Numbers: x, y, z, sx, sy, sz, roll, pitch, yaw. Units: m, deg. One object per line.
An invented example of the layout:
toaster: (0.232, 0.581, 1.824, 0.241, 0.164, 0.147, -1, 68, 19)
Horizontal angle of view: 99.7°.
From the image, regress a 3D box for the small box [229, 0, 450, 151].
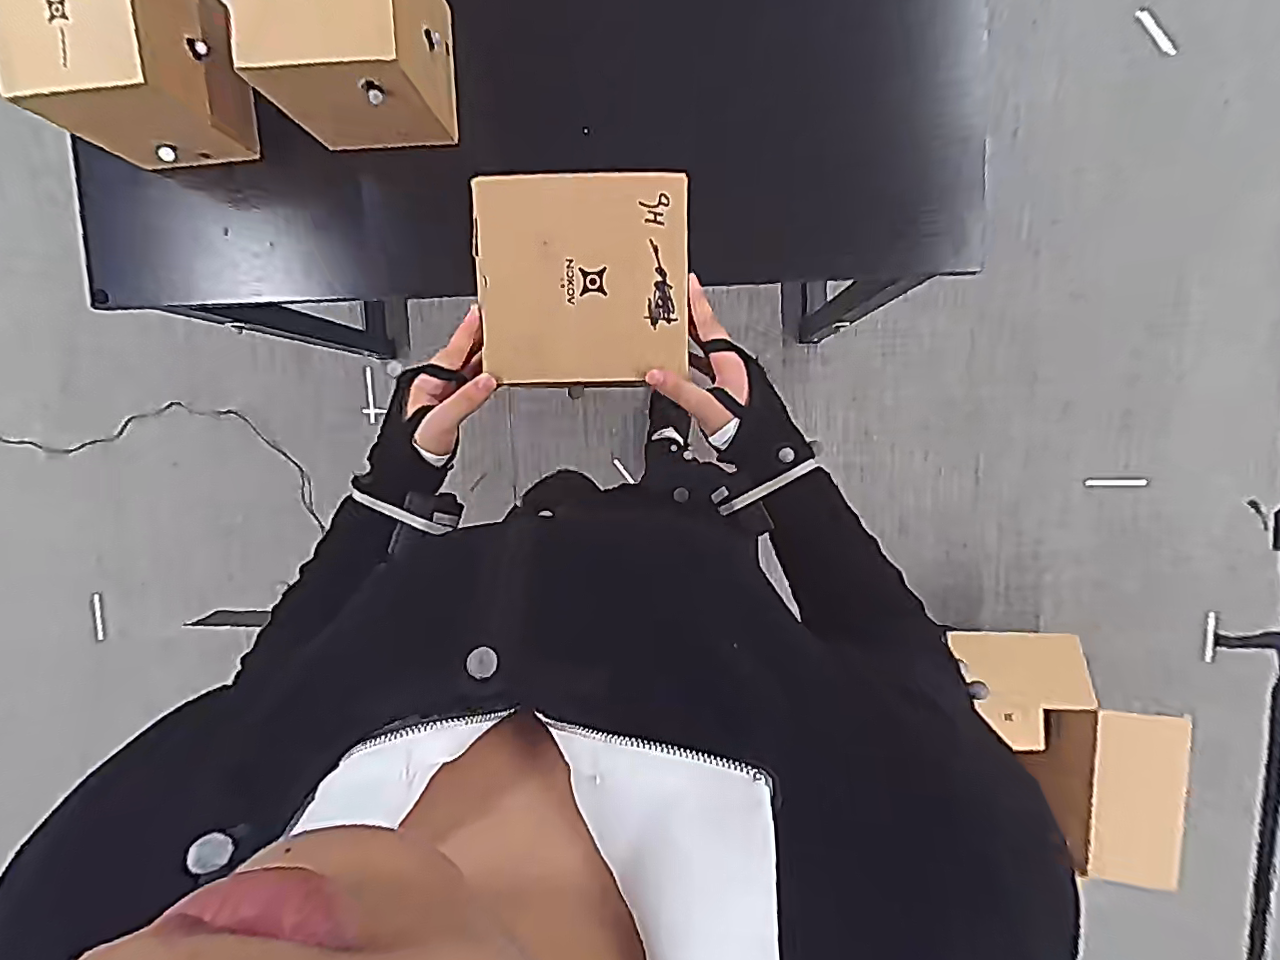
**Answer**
small box: (-0.333, -0.511, 0.630, 0.179, 0.176, 0.168, -2, 95, 2)

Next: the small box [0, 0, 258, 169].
small box: (-0.600, -0.504, 0.644, 0.168, 0.176, 0.179, -3, 97, 3)
